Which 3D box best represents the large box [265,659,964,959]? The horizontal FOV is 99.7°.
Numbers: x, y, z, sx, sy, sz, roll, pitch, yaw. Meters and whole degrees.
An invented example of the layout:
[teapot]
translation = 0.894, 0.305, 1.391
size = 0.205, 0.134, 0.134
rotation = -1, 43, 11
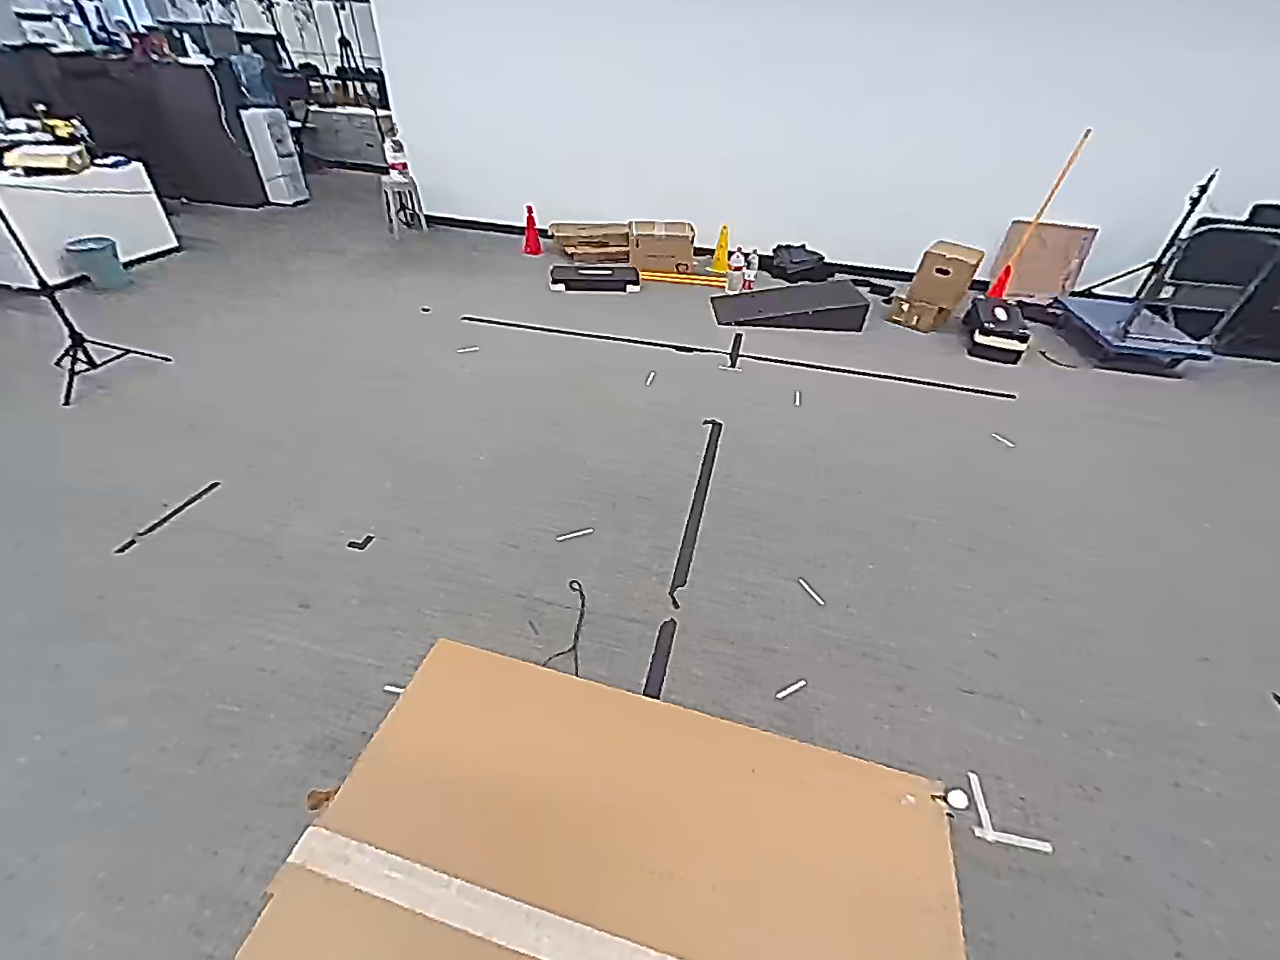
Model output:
[large box]
translation = -0.021, 0.396, 0.415
size = 0.408, 0.320, 0.320
rotation = 13, 43, 9
